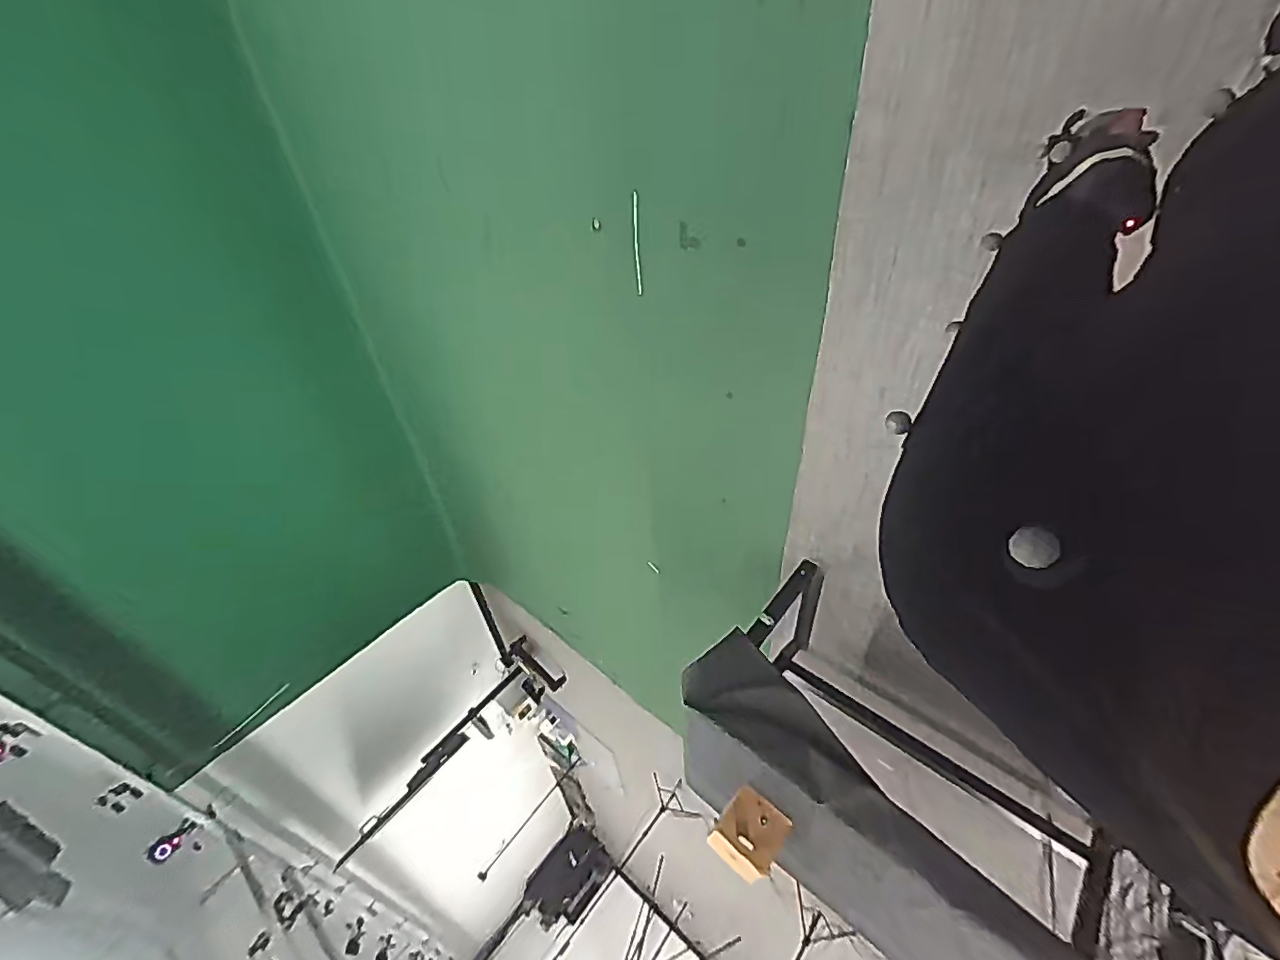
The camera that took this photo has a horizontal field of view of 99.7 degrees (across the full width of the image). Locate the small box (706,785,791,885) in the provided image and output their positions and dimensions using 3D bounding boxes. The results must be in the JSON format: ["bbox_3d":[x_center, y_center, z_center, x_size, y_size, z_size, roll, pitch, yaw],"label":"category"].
[{"bbox_3d":[0.321,1.048,1.600,0.168,0.176,0.179,35,143,24],"label":"small box"}]
